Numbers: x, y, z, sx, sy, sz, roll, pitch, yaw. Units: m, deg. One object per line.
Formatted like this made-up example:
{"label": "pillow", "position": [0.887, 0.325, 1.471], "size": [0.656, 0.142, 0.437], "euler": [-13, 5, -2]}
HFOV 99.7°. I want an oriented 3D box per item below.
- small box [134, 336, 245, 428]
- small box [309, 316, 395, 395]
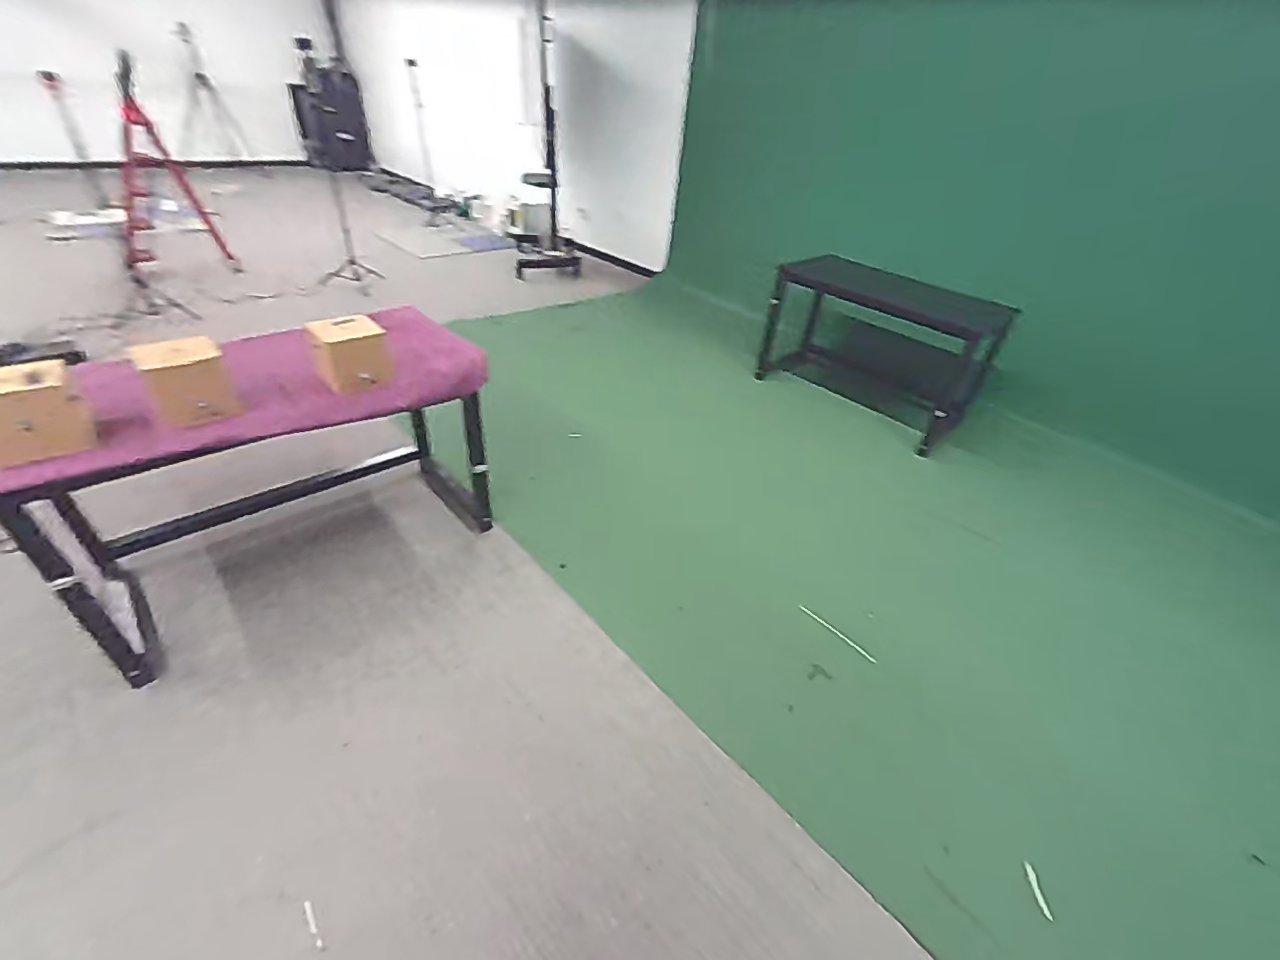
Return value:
{"label": "small box", "position": [-1.171, -0.256, 1.410], "size": [0.168, 0.176, 0.179], "euler": [-27, 46, -36]}
{"label": "small box", "position": [-0.862, -0.375, 1.625], "size": [0.168, 0.176, 0.179], "euler": [-25, 46, -35]}
